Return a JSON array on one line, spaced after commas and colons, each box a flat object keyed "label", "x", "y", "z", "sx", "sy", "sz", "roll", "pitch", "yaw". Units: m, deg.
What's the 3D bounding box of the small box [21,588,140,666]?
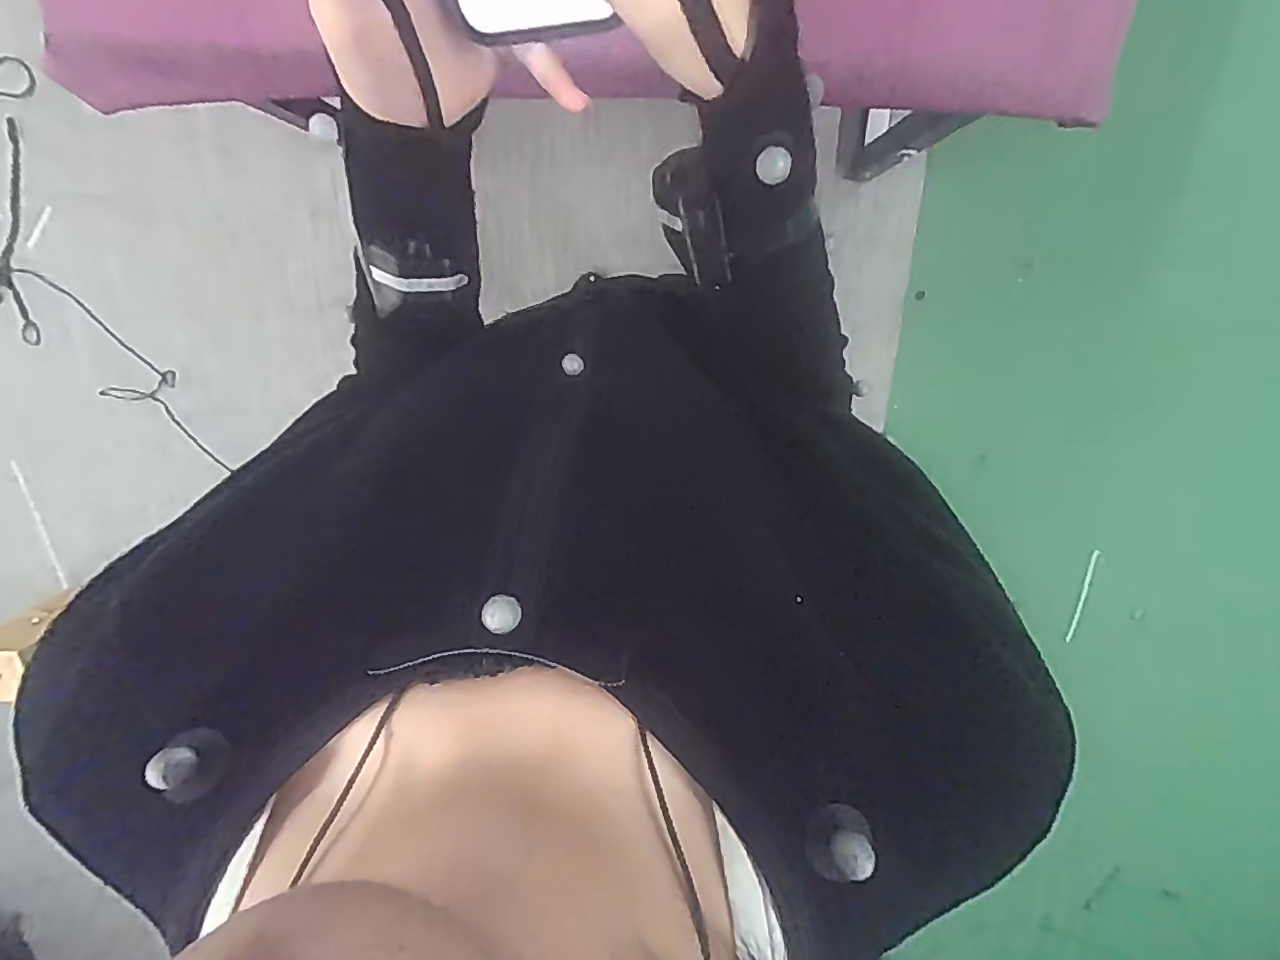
[{"label": "small box", "x": -1.709, "y": 0.448, "z": 1.664, "sx": 0.168, "sy": 0.176, "sz": 0.179, "roll": 1, "pitch": 109, "yaw": 3}]

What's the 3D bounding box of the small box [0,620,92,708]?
[{"label": "small box", "x": -1.714, "y": 0.507, "z": 1.511, "sx": 0.179, "sy": 0.176, "sz": 0.168, "roll": 2, "pitch": 109, "yaw": 2}]
